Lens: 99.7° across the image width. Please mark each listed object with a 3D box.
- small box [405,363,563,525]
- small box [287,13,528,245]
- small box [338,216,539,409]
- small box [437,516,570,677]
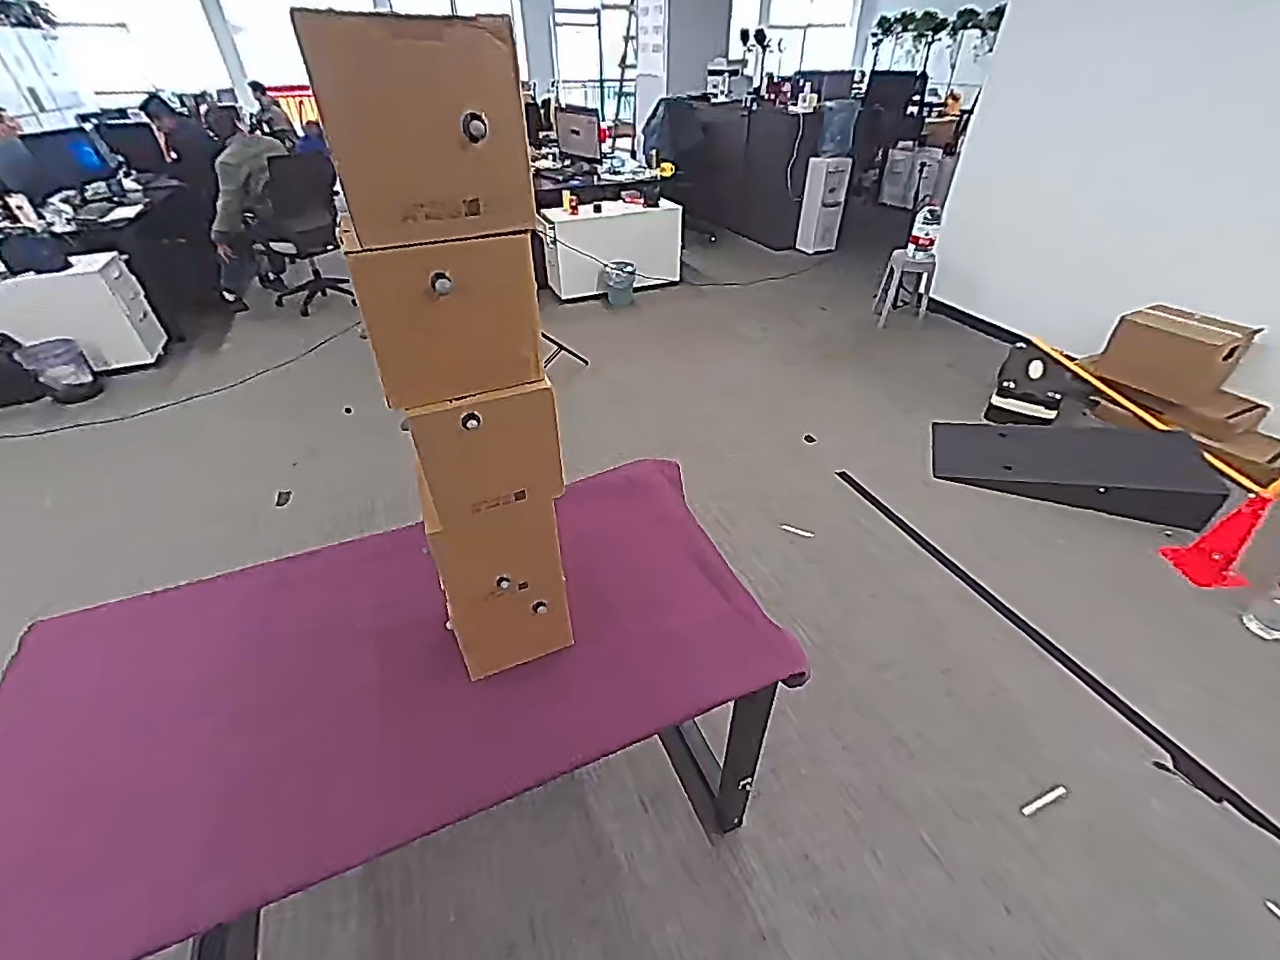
[{"bbox_3d":[-0.209,-0.070,0.712,0.168,0.176,0.179,-16,40,-19],"label":"small box"},{"bbox_3d":[-0.217,-0.335,0.524,0.168,0.176,0.179,-17,40,-21],"label":"small box"},{"bbox_3d":[-0.222,-0.203,0.619,0.179,0.176,0.168,-17,41,-19],"label":"small box"},{"bbox_3d":[-0.222,0.194,0.907,0.179,0.176,0.168,-17,40,-18],"label":"small box"}]
